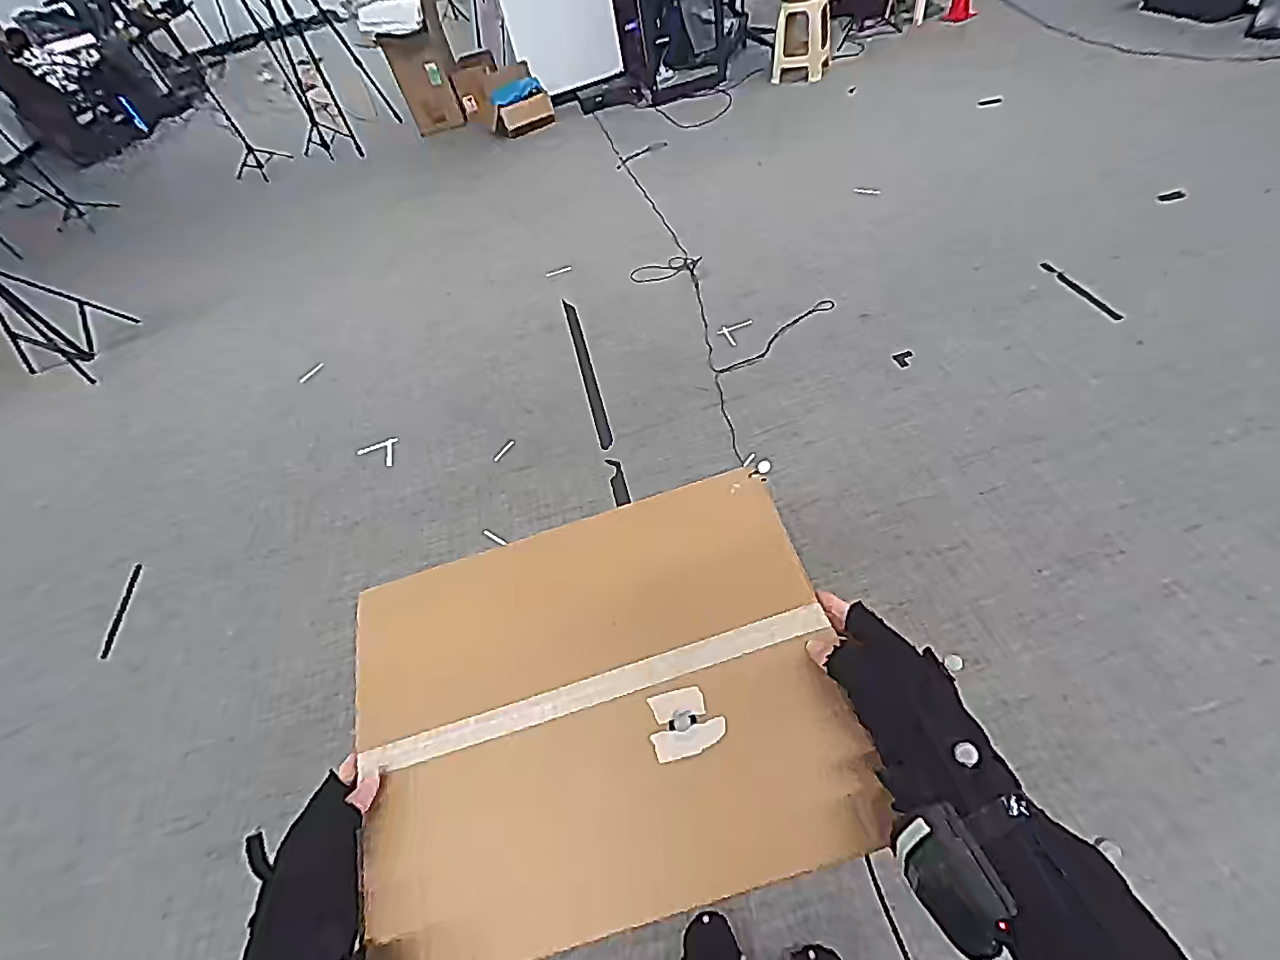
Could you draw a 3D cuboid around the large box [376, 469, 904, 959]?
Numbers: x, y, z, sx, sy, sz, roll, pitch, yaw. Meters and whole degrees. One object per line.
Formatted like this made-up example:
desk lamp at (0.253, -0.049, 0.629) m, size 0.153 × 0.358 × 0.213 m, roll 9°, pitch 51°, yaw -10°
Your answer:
large box at (-0.014, 0.247, 0.591) m, size 0.408 × 0.320 × 0.320 m, roll -18°, pitch 60°, yaw -1°
